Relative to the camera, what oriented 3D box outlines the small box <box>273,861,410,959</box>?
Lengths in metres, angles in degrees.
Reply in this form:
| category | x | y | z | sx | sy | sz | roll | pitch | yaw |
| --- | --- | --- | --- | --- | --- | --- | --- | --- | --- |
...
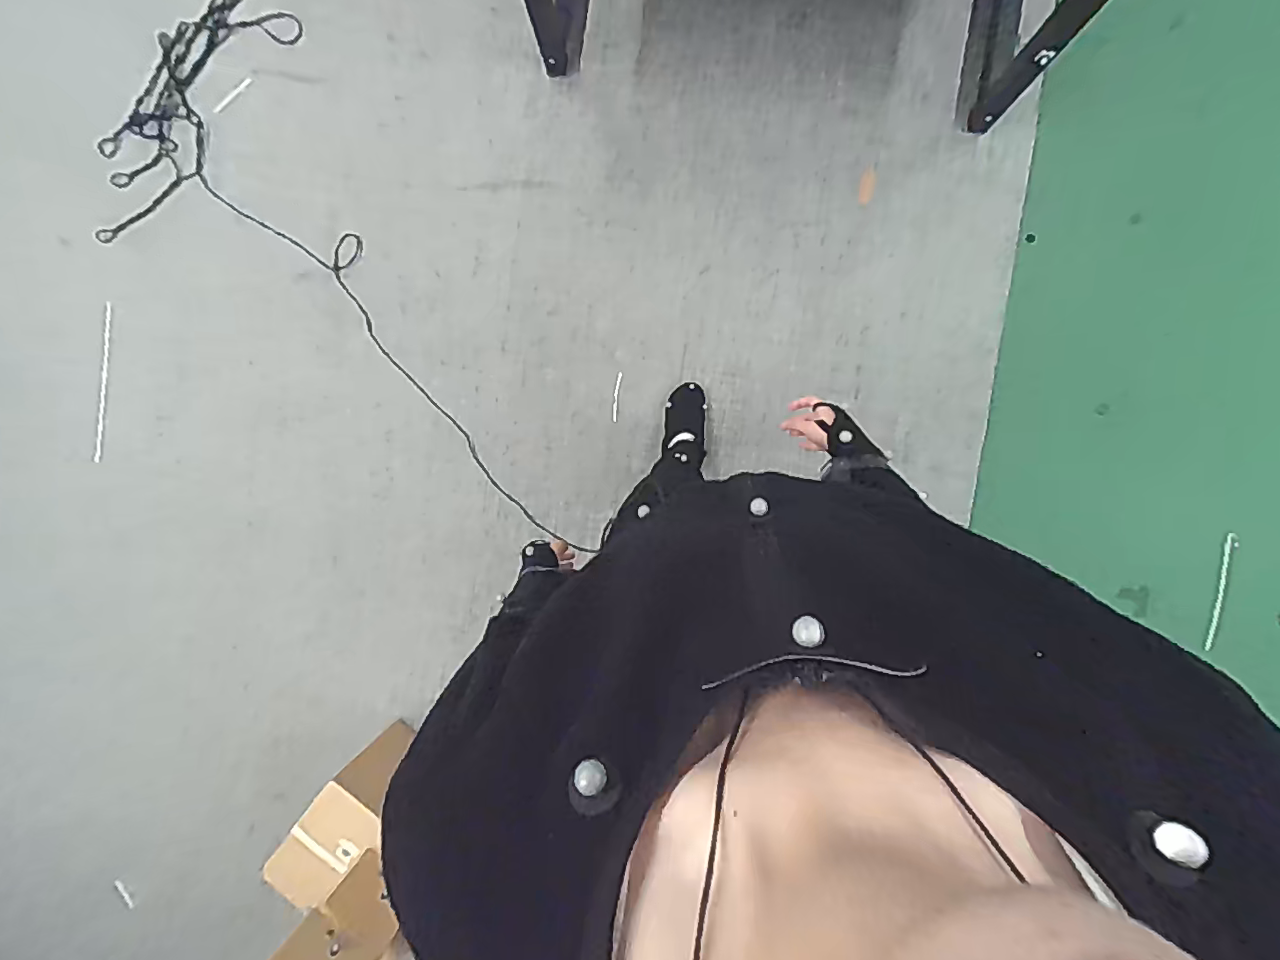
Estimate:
| category | x | y | z | sx | sy | sz | roll | pitch | yaw |
| --- | --- | --- | --- | --- | --- | --- | --- | --- | --- |
| small box | -0.639 | 0.988 | 1.164 | 0.168 | 0.176 | 0.179 | 42 | 94 | 3 |
